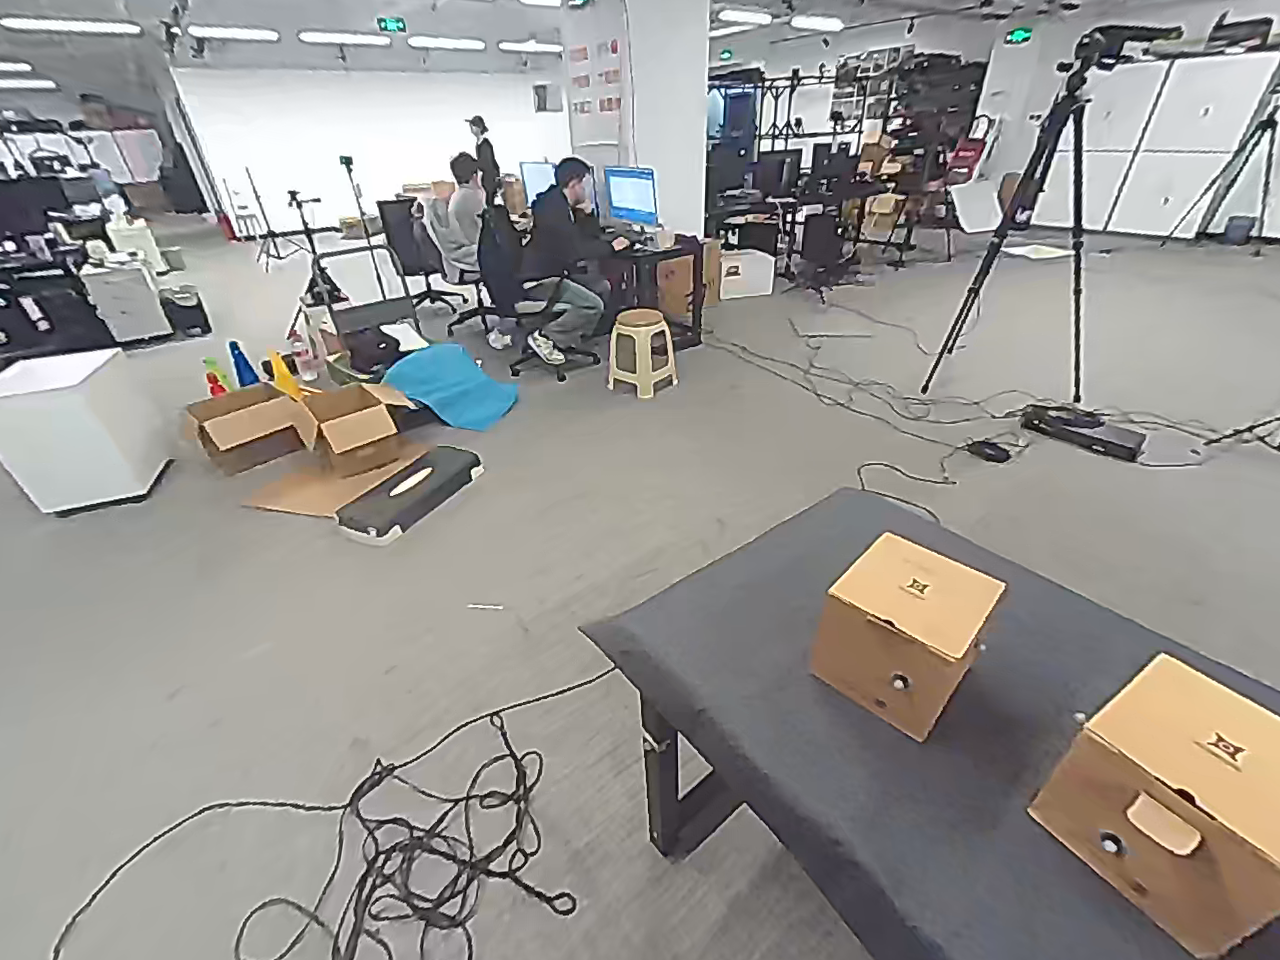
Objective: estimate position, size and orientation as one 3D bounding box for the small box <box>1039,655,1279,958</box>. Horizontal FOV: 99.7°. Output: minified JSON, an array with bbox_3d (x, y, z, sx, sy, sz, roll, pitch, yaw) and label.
[{"bbox_3d":[0.557,0.322,0.551,0.179,0.176,0.168,-20,37,-25],"label":"small box"}]

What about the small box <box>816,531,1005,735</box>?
[{"bbox_3d":[0.360,0.206,0.745,0.168,0.176,0.179,28,42,37],"label":"small box"}]
